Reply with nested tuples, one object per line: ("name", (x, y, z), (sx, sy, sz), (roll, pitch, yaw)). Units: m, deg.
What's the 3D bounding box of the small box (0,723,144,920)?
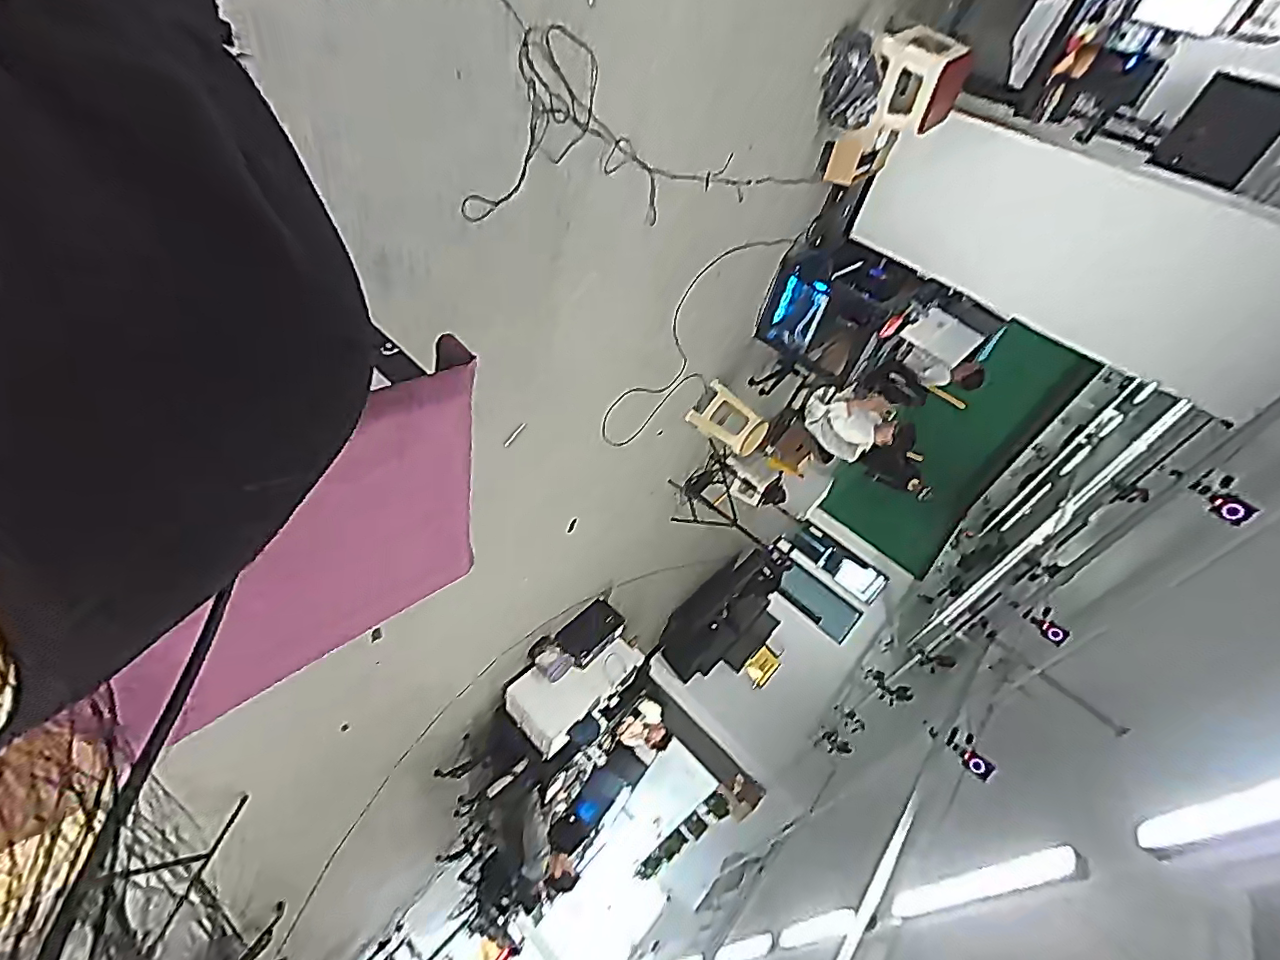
("small box", (-0.912, 0.508, 0.819), (0.168, 0.176, 0.179), (-32, 150, -39))
